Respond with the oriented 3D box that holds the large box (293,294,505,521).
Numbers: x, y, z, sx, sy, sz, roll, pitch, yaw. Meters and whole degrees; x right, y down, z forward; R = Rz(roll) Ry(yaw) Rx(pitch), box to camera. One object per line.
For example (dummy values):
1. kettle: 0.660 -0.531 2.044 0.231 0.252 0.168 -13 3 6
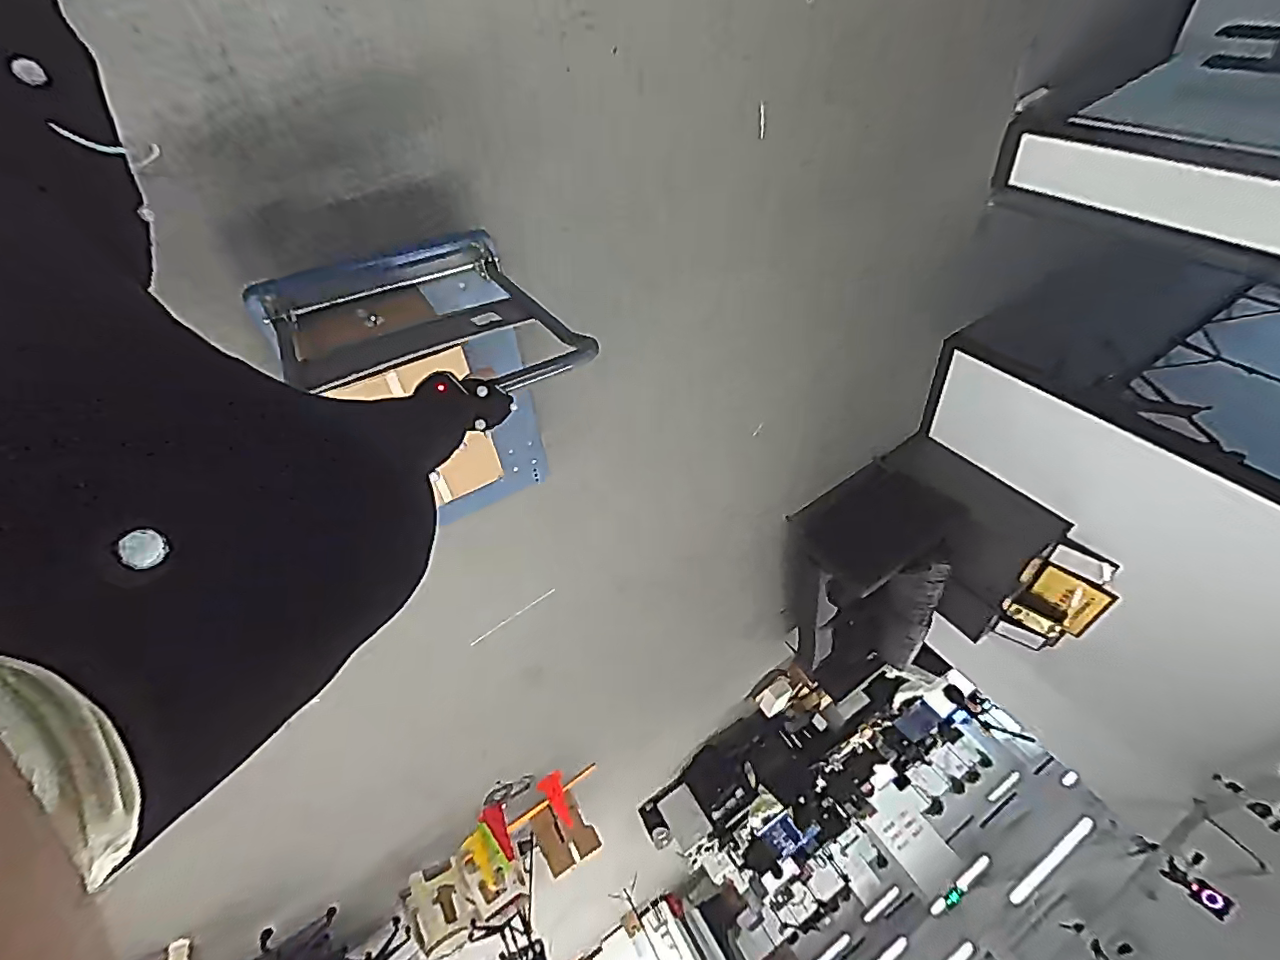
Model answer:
1. large box: -0.585 -0.182 1.348 0.320 0.320 0.408 -26 139 -19
